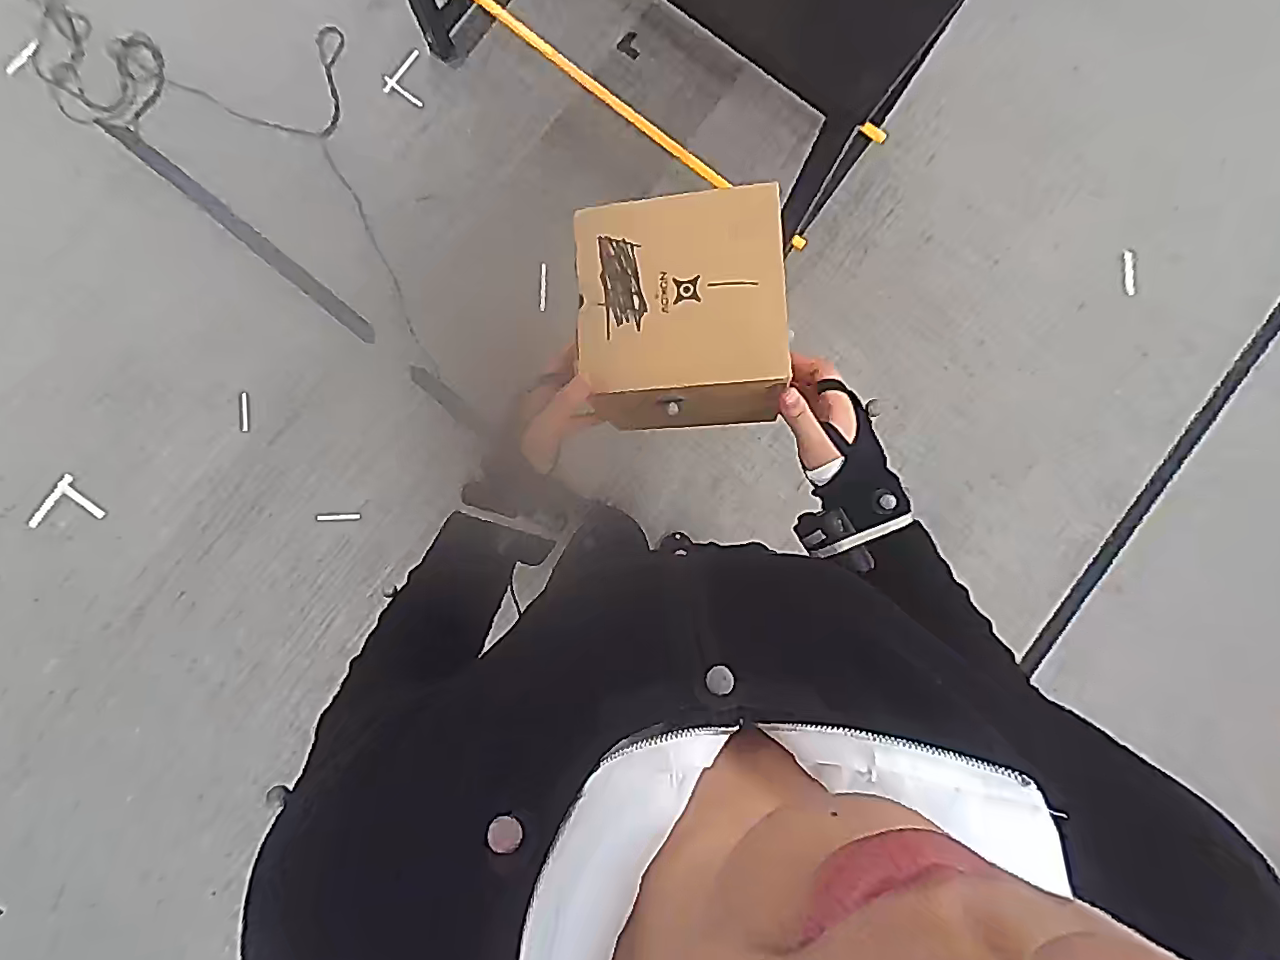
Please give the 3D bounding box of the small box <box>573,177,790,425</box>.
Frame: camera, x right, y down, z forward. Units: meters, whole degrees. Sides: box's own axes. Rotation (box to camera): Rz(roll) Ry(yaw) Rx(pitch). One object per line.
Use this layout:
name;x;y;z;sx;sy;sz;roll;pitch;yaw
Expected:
small box;0.044;-0.152;0.520;0.179;0.176;0.168;-4;84;9
